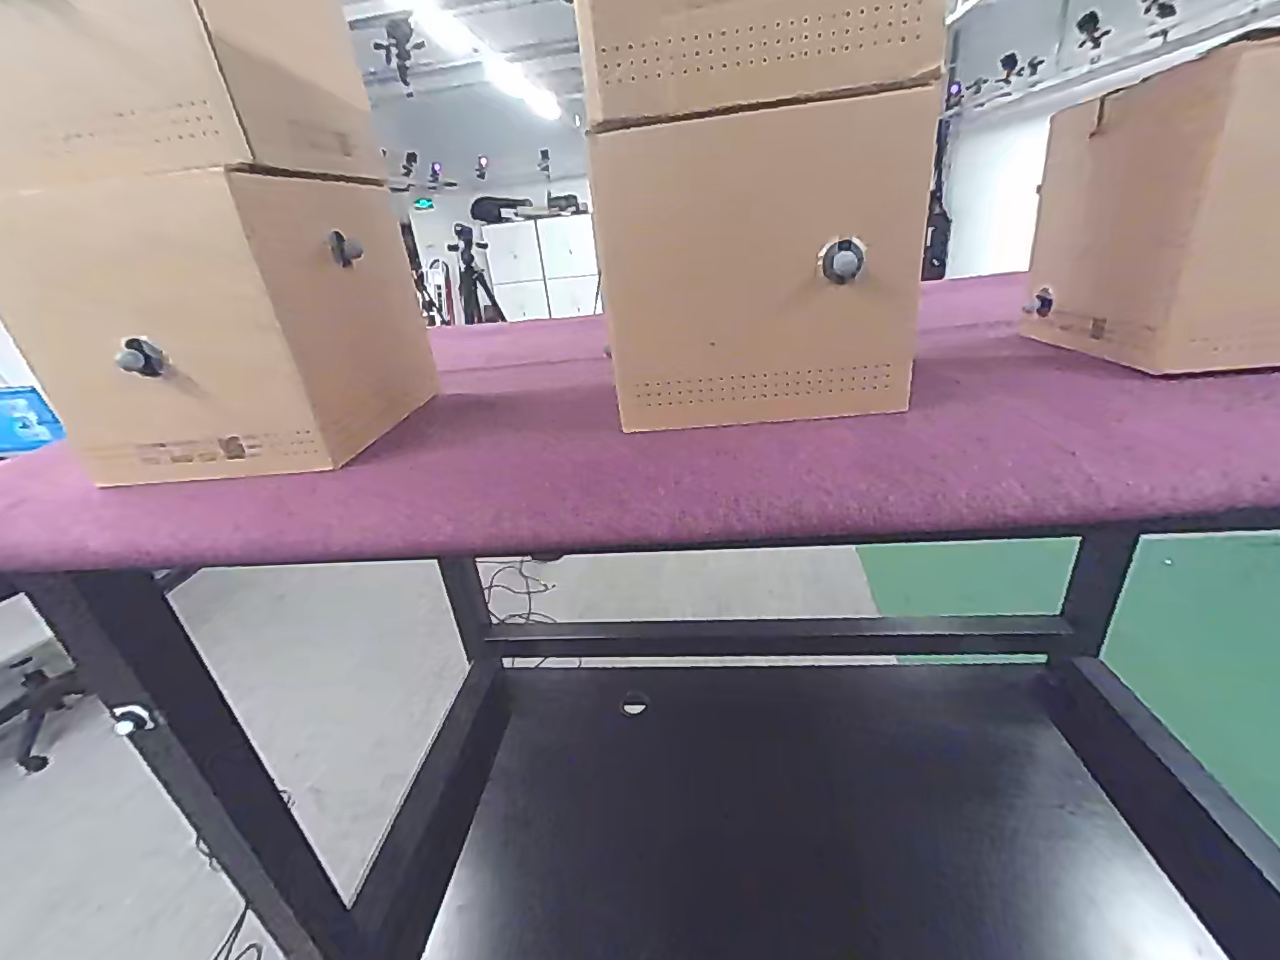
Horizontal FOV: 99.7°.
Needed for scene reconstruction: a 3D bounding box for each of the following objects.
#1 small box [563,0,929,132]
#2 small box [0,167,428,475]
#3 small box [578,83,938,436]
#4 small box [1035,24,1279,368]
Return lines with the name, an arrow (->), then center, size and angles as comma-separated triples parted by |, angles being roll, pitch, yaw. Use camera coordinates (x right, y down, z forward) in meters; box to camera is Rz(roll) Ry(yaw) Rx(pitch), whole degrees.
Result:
small box -> 0.049, -0.287, 0.300 | 0.179, 0.176, 0.168 | -5, 25, 5
small box -> -0.272, -0.109, 0.379 | 0.168, 0.176, 0.179 | -3, 26, 5
small box -> 0.069, -0.139, 0.366 | 0.179, 0.176, 0.168 | -5, 25, 6
small box -> 0.390, -0.172, 0.347 | 0.179, 0.176, 0.168 | -3, 24, 9
